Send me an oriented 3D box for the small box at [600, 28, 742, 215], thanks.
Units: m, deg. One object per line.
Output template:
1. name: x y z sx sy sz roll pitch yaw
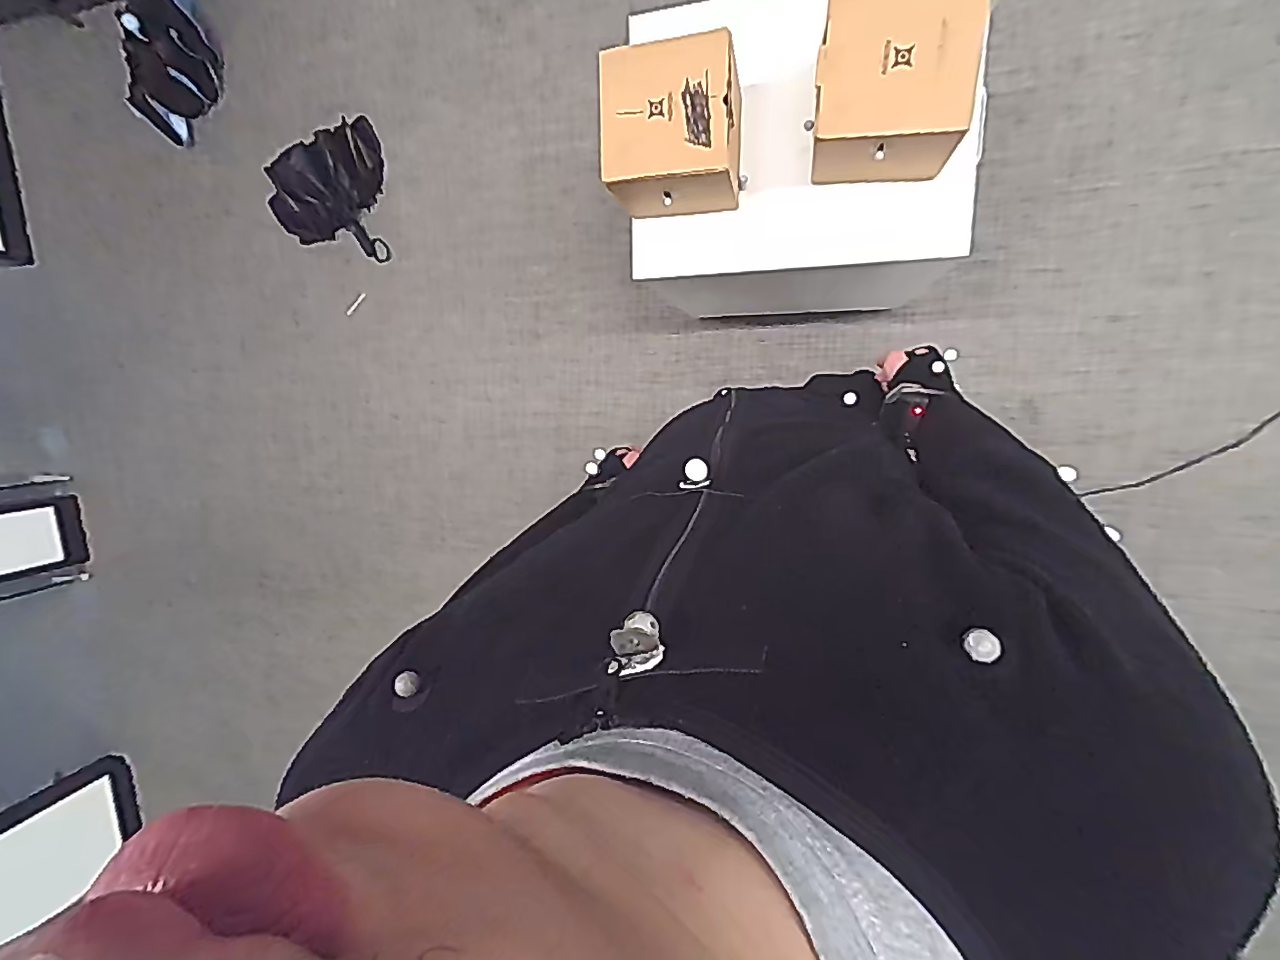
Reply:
1. small box: 0.052 -0.498 0.782 0.179 0.176 0.168 3 100 16

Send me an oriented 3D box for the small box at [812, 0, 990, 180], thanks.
1. small box: 0.324 -0.507 0.705 0.179 0.176 0.168 6 103 15
